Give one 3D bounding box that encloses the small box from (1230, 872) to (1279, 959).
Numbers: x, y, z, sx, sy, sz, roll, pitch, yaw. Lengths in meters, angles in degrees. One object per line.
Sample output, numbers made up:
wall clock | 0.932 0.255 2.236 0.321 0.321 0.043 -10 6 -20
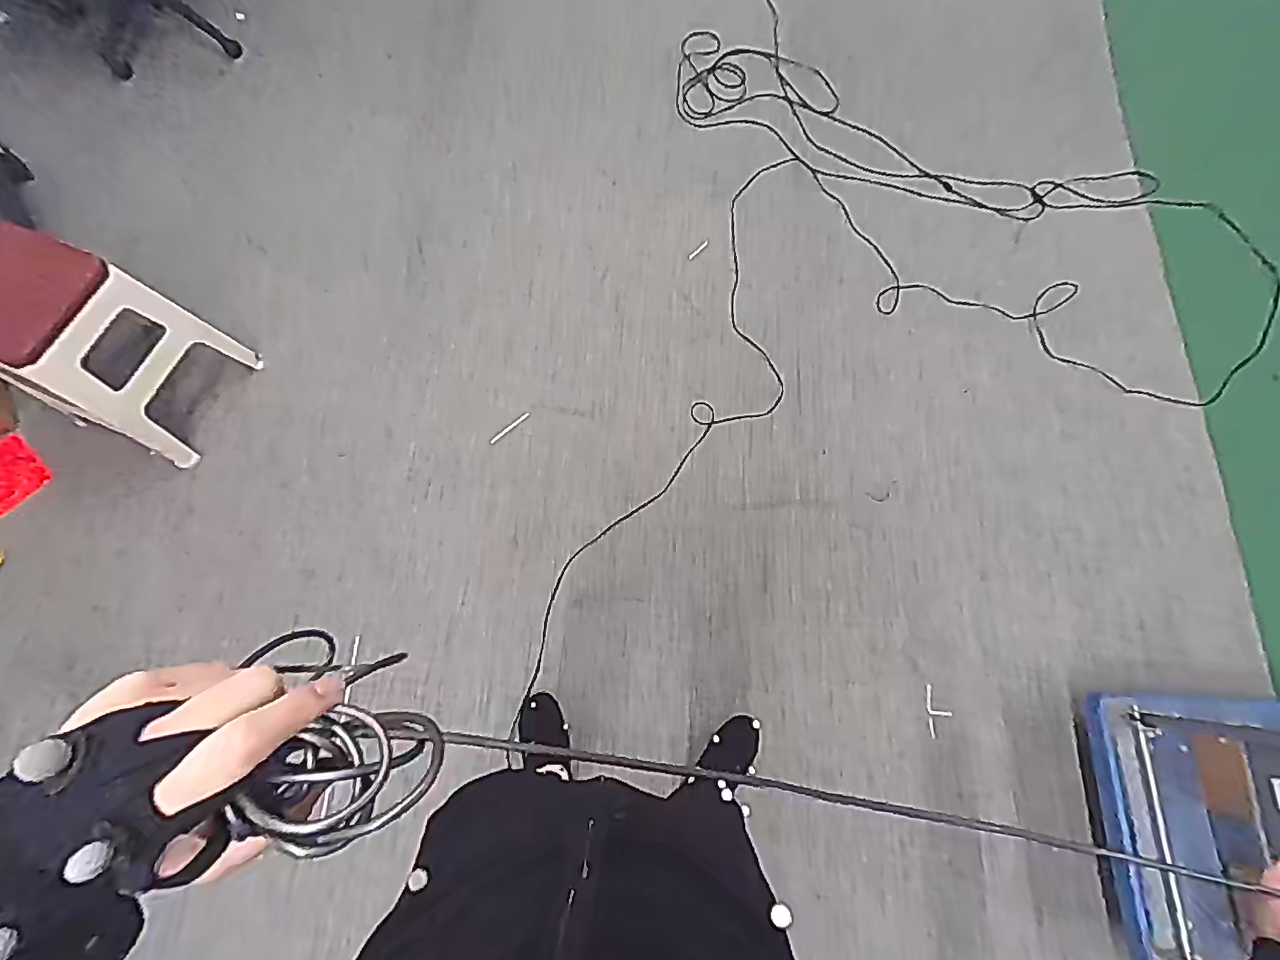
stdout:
small box | 1.386 0.927 1.098 0.179 0.176 0.168 5 72 0
